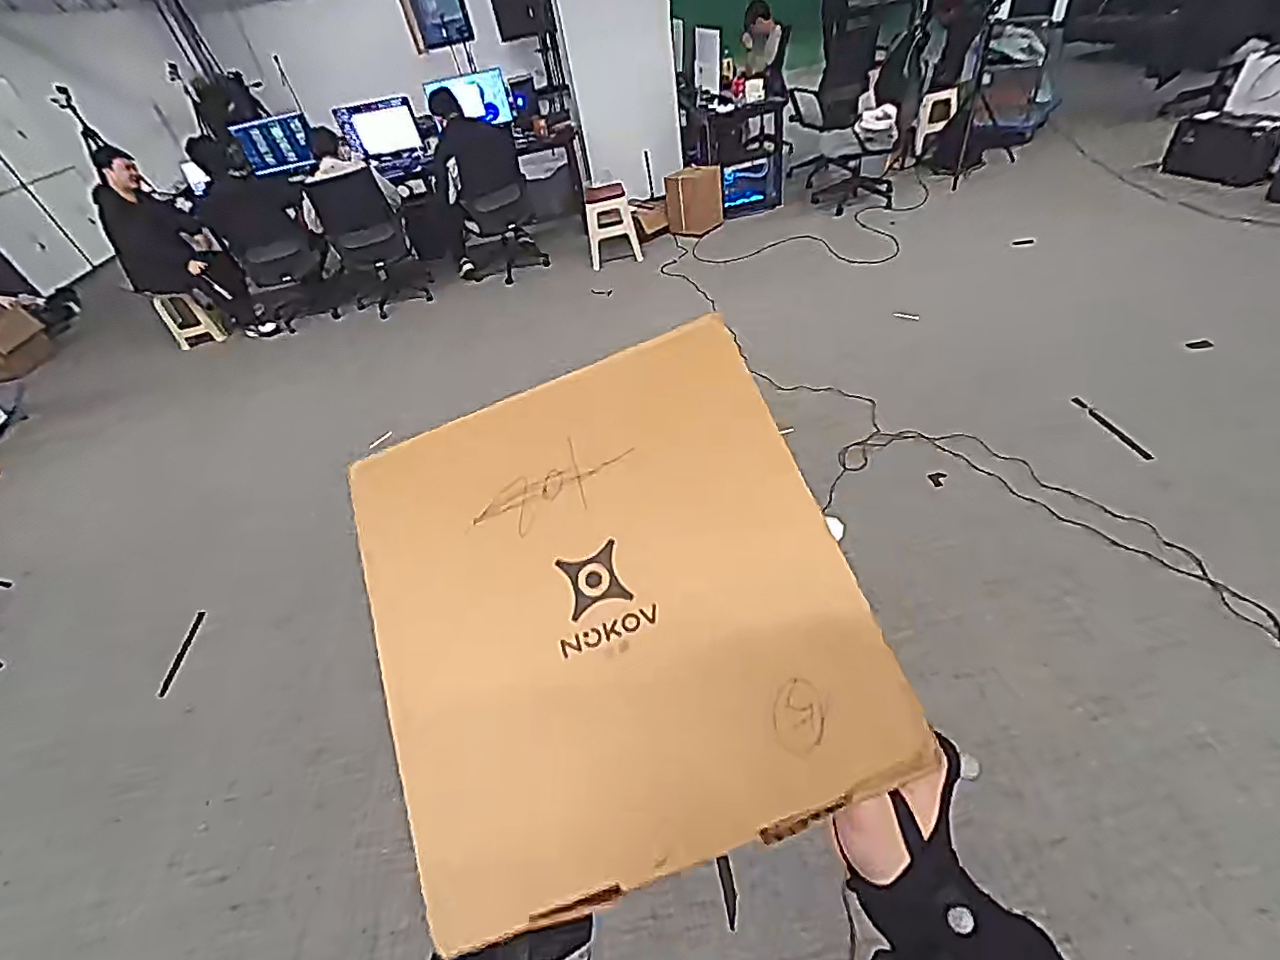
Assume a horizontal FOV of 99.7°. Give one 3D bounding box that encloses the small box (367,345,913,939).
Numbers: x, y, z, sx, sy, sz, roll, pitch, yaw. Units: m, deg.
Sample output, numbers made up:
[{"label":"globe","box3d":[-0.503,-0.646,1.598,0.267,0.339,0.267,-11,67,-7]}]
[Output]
[{"label":"small box","box3d":[-0.002,0.071,0.279,0.168,0.176,0.179,-23,69,1]}]
